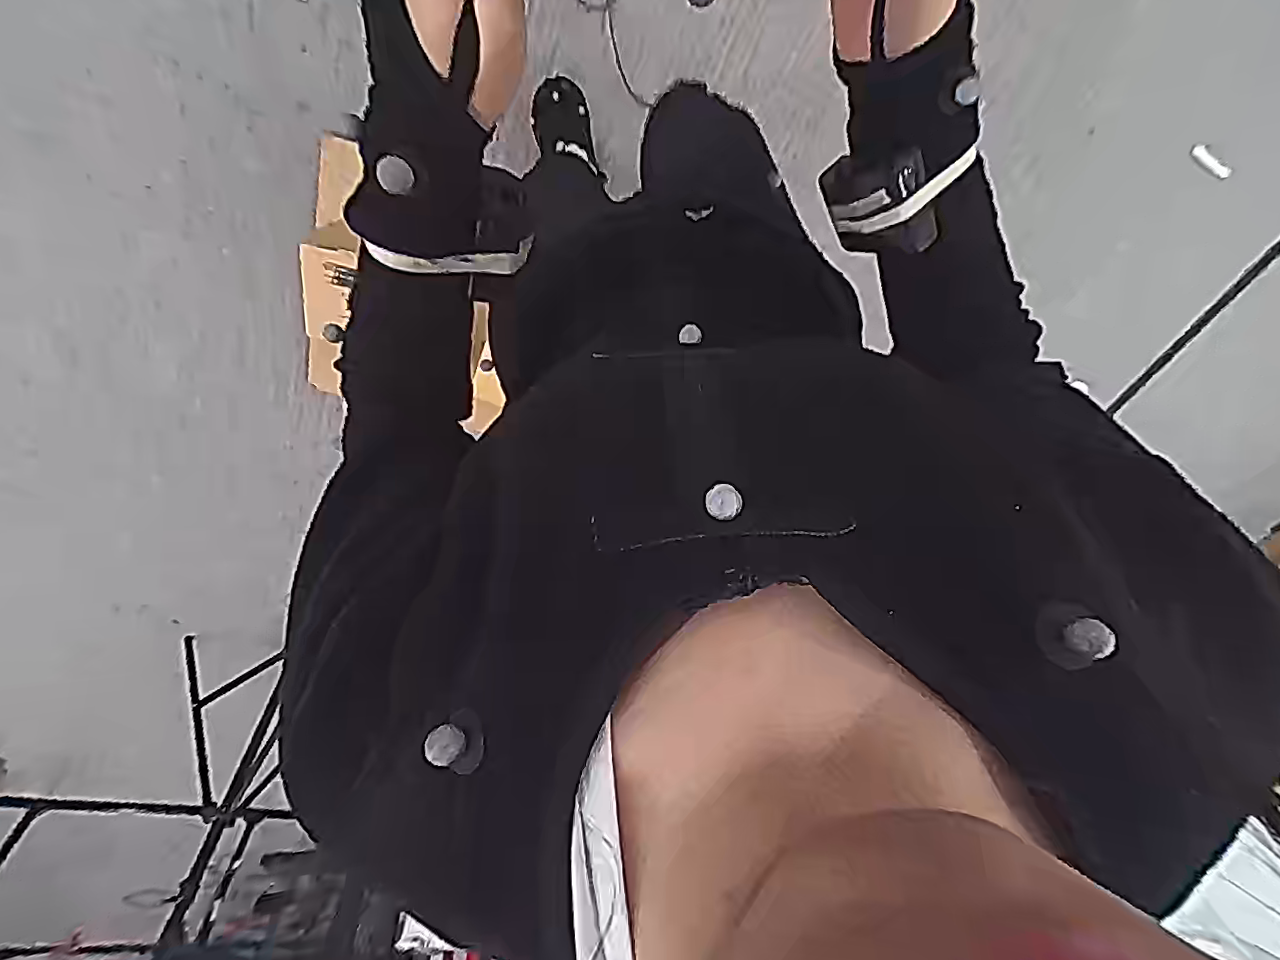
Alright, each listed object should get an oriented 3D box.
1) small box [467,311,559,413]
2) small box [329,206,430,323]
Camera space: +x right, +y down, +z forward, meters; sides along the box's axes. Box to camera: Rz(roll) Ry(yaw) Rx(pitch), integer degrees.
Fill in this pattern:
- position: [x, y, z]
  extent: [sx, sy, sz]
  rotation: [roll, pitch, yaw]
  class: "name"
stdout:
- position: [-0.315, -0.300, 1.344]
  extent: [0.179, 0.176, 0.168]
  rotation: [17, 122, -22]
  class: "small box"
- position: [-0.560, -0.471, 1.174]
  extent: [0.168, 0.176, 0.179]
  rotation: [10, 125, -16]
  class: "small box"
